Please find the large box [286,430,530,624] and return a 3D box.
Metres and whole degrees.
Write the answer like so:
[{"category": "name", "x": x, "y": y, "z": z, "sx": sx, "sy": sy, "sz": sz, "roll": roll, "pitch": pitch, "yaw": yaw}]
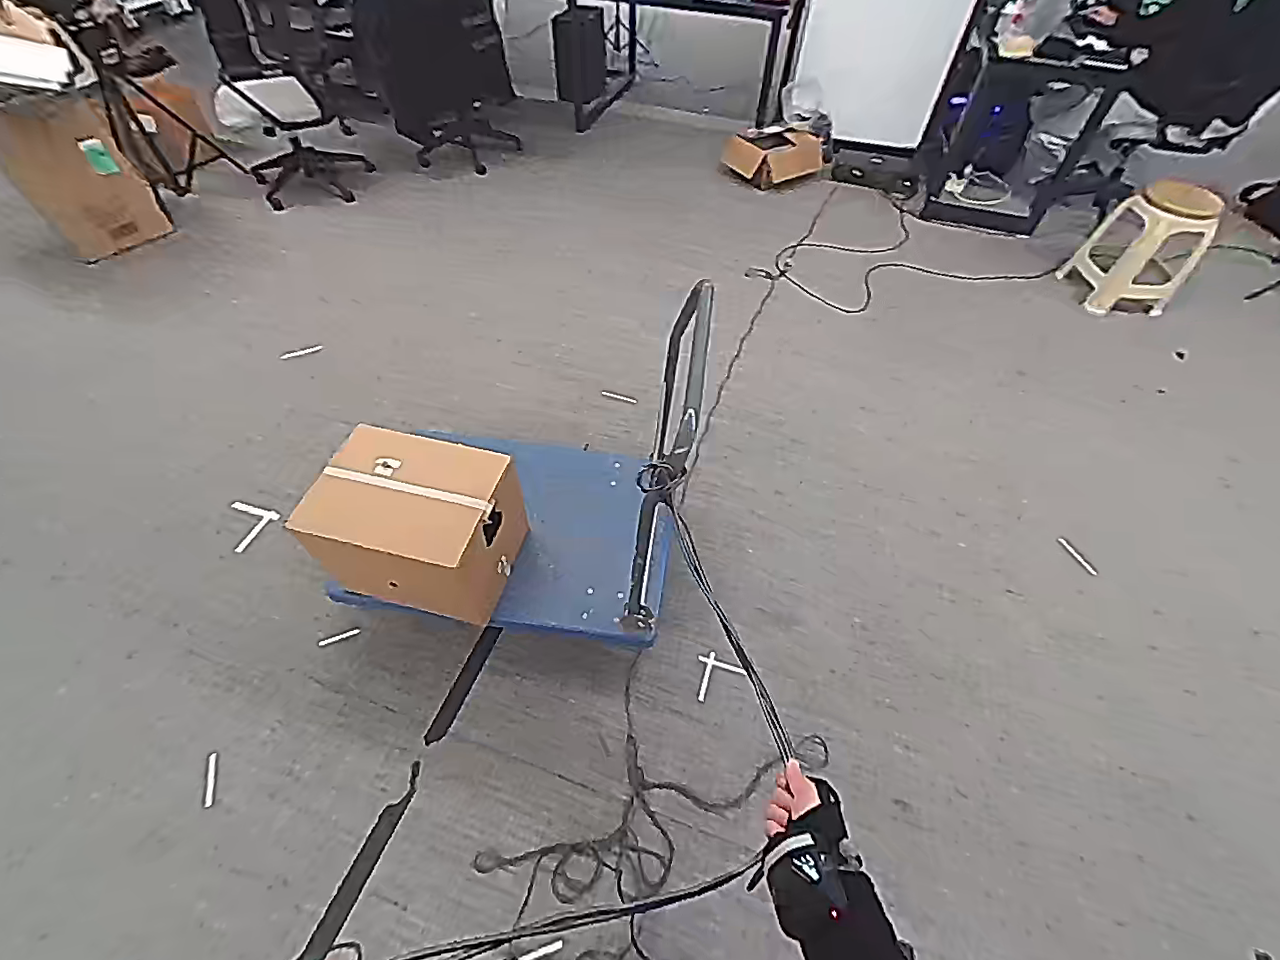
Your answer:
[{"category": "large box", "x": -0.529, "y": 0.119, "z": 1.329, "sx": 0.408, "sy": 0.320, "sz": 0.320, "roll": 12, "pitch": 53, "yaw": 8}]
